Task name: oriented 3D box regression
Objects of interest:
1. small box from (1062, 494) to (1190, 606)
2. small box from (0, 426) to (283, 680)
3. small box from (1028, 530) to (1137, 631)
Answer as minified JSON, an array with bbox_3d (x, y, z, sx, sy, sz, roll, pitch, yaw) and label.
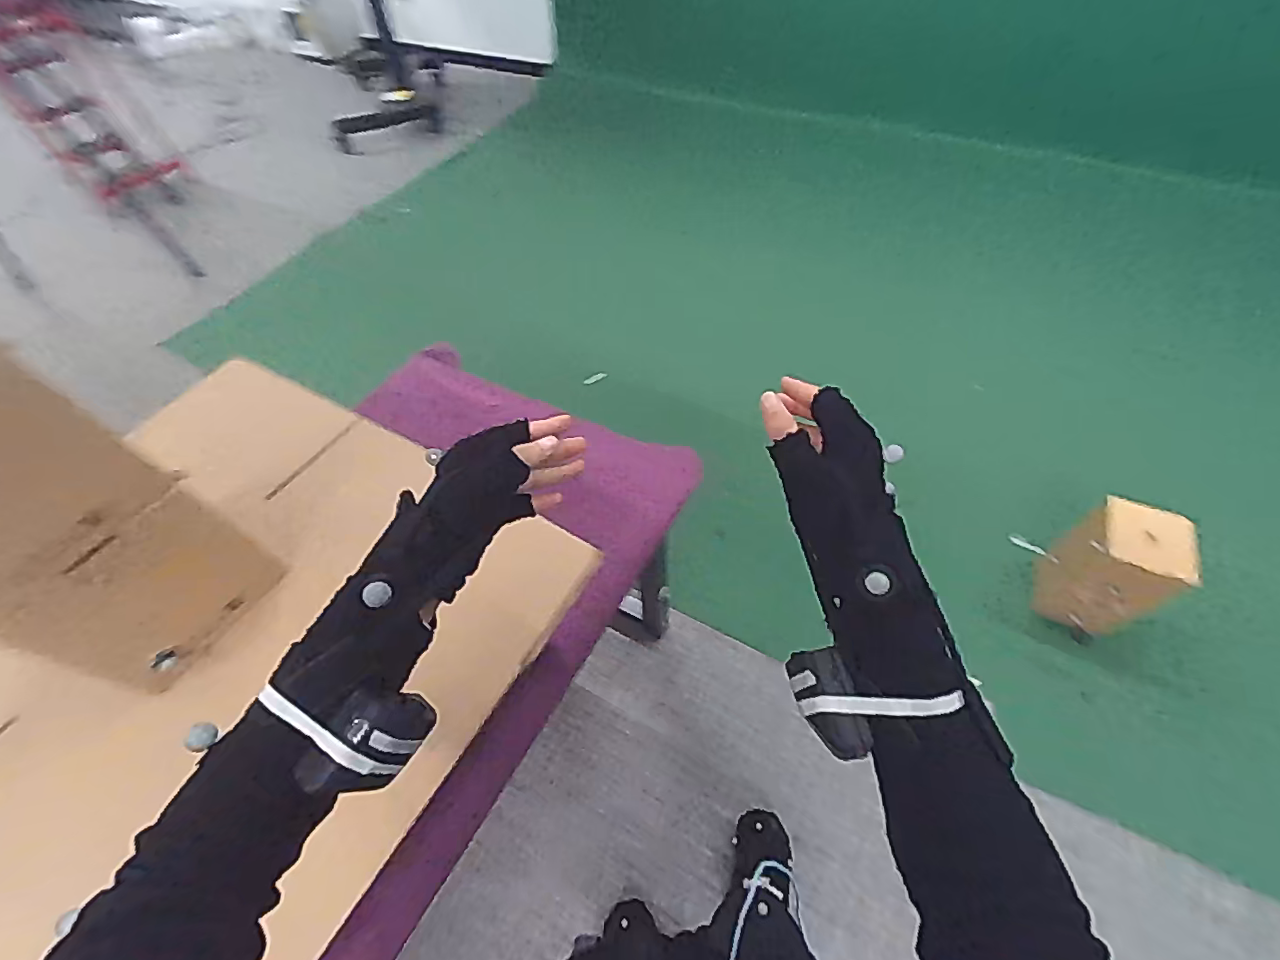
[{"bbox_3d":[1.150,0.170,1.293,0.168,0.176,0.179,20,59,16],"label":"small box"},{"bbox_3d":[-0.520,0.080,0.550,0.179,0.176,0.168,23,59,22],"label":"small box"},{"bbox_3d":[1.159,0.265,1.425,0.168,0.176,0.179,21,59,18],"label":"small box"}]
